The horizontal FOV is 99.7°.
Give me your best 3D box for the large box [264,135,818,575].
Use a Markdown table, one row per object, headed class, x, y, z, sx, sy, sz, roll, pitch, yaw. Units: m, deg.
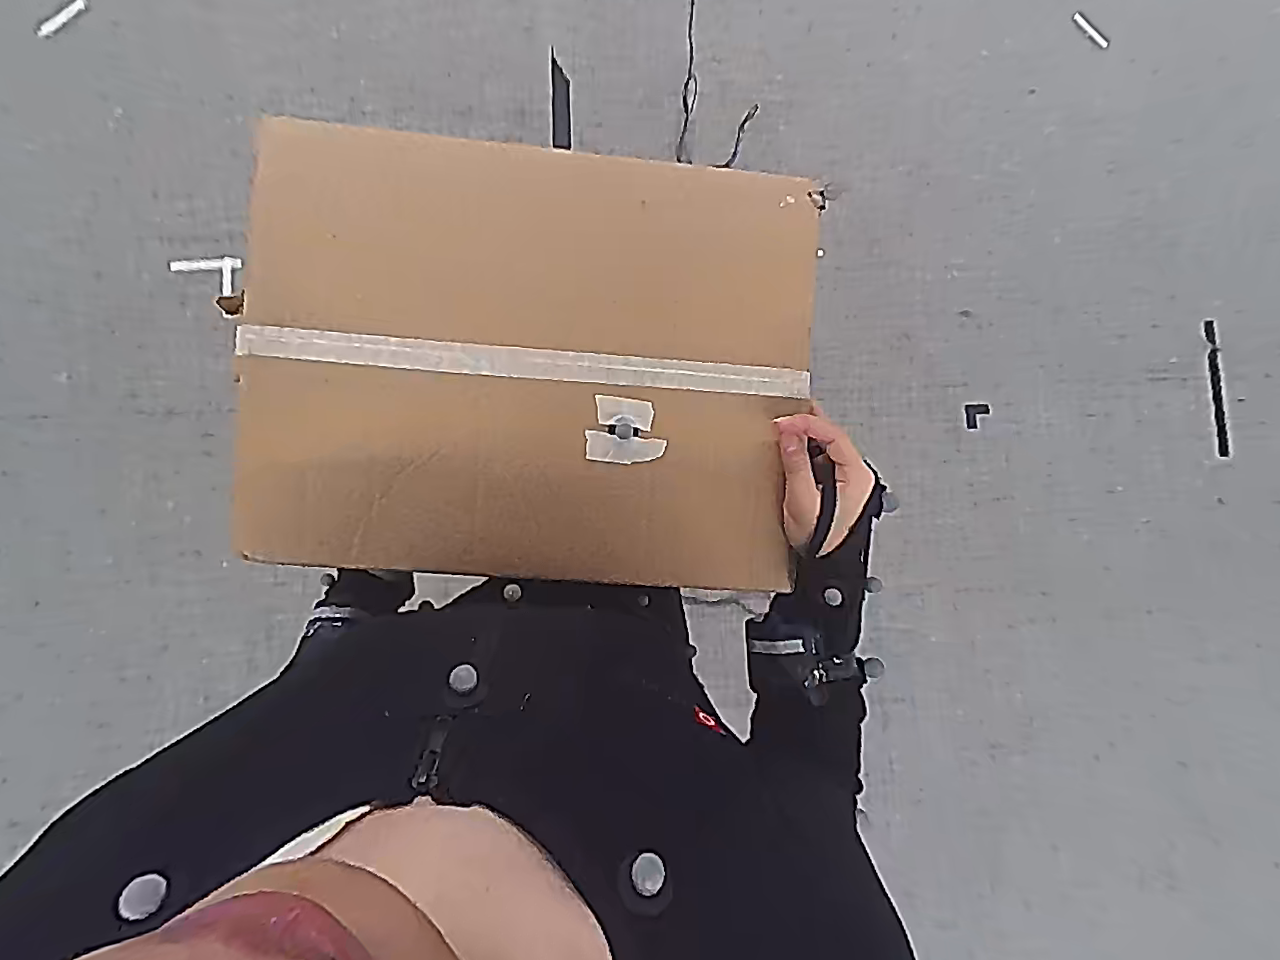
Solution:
| class | x | y | z | sx | sy | sz | roll | pitch | yaw |
| --- | --- | --- | --- | --- | --- | --- | --- | --- | --- |
| large box | -0.080 | -0.088 | 0.551 | 0.408 | 0.320 | 0.320 | 4 | 91 | -5 |
